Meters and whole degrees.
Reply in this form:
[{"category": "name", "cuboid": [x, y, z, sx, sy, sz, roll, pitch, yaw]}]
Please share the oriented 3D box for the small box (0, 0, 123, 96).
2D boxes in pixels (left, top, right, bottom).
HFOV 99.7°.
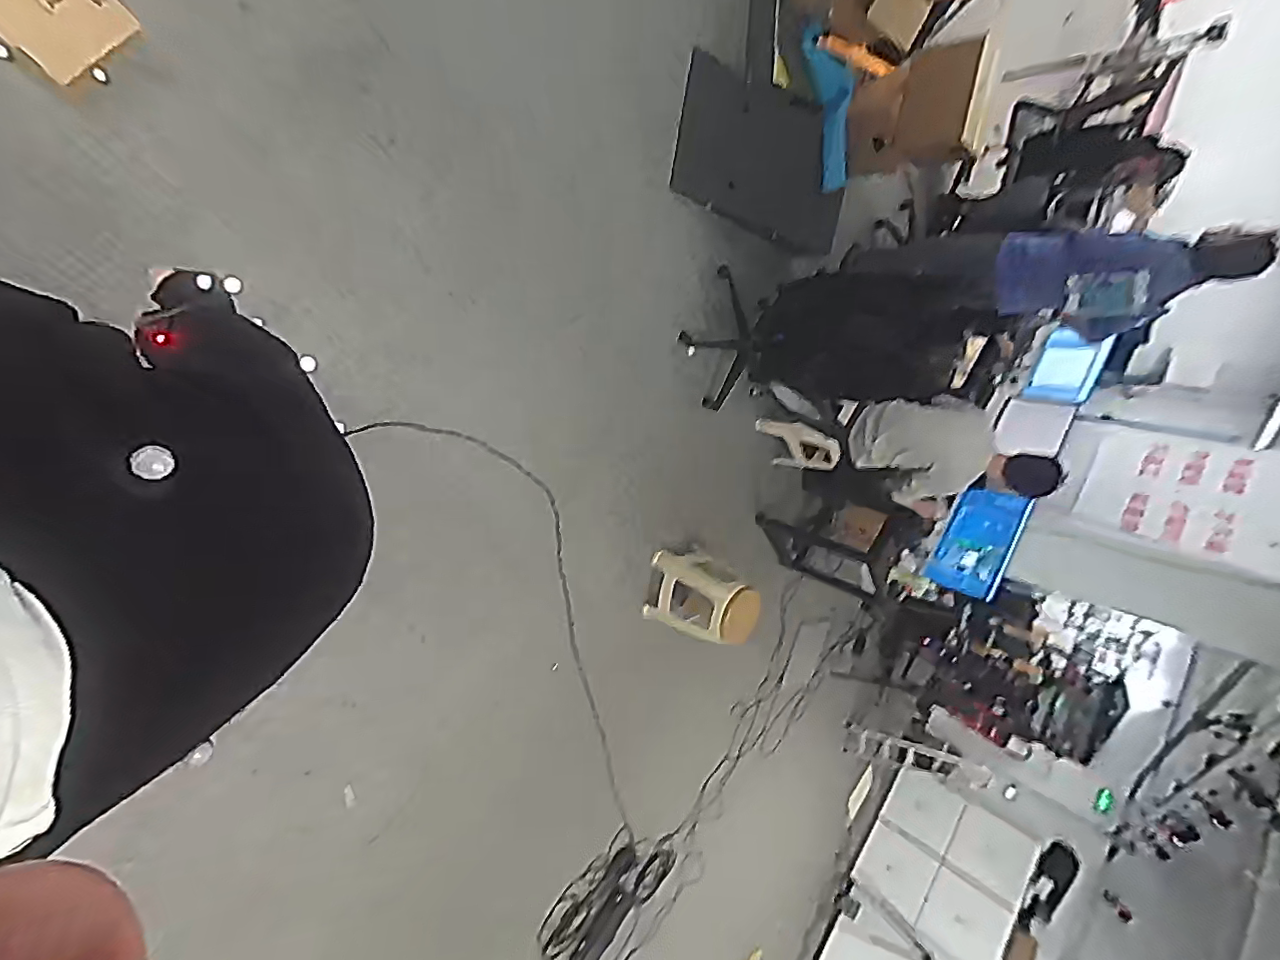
[{"category": "small box", "cuboid": [-1.004, -0.794, 0.912, 0.179, 0.176, 0.168, 7, 97, -46]}]
